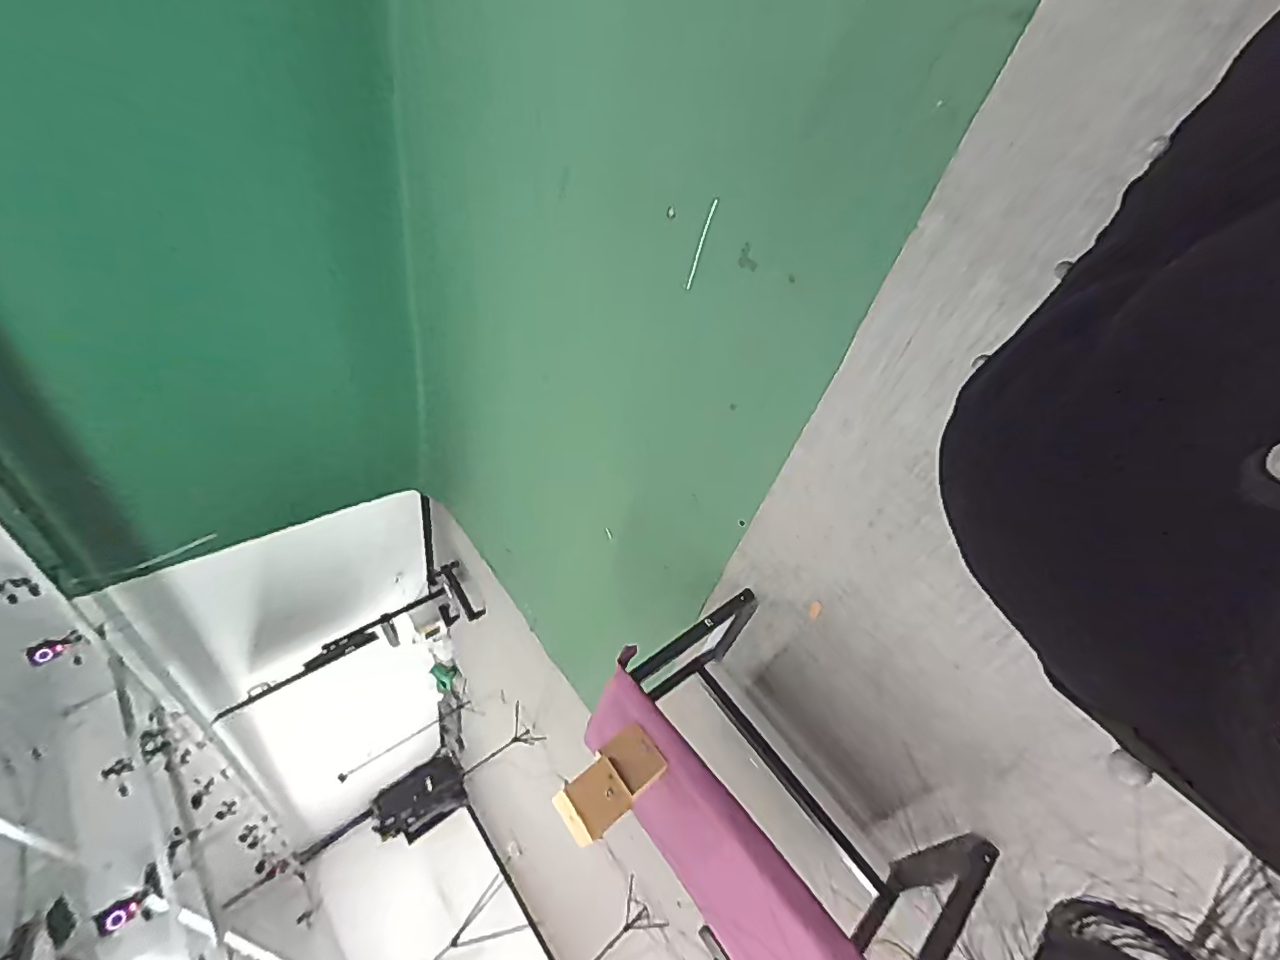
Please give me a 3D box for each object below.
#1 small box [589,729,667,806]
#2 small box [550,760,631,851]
[{"bbox_3d":[-0.040,0.954,1.778,0.179,0.176,0.168,46,140,27],"label":"small box"},{"bbox_3d":[-0.150,1.000,1.664,0.168,0.176,0.179,51,141,21],"label":"small box"}]
